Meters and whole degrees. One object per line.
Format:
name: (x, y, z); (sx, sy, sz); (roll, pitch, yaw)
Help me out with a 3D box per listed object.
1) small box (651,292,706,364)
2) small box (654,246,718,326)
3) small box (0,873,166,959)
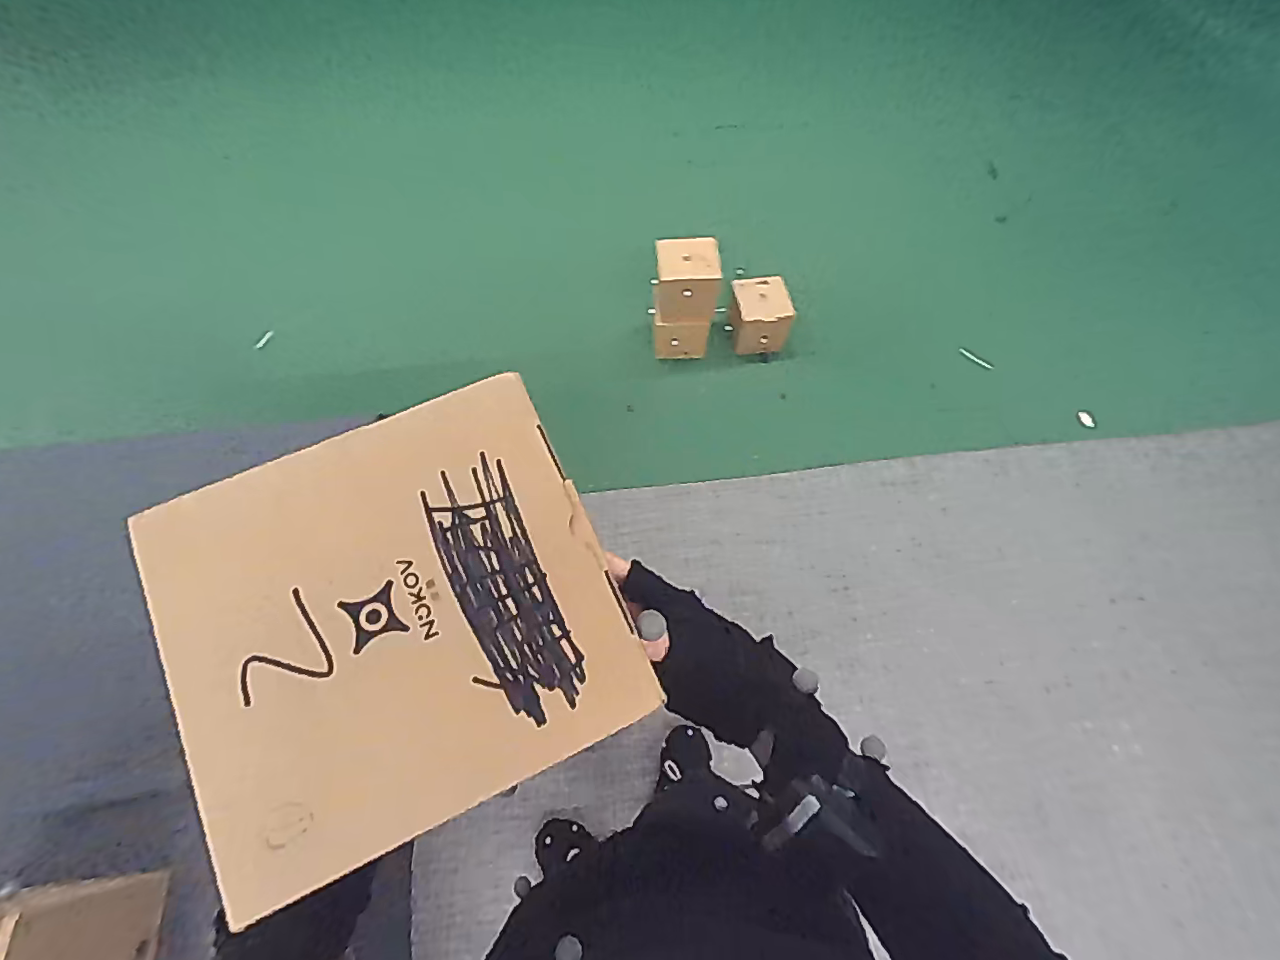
small box: (0.124, -0.499, 1.783); (0.168, 0.176, 0.179); (-2, 63, -2)
small box: (0.134, -0.584, 1.641); (0.179, 0.176, 0.168); (-2, 63, -2)
small box: (-0.579, 0.461, 0.465); (0.179, 0.176, 0.168); (-5, 64, -4)
